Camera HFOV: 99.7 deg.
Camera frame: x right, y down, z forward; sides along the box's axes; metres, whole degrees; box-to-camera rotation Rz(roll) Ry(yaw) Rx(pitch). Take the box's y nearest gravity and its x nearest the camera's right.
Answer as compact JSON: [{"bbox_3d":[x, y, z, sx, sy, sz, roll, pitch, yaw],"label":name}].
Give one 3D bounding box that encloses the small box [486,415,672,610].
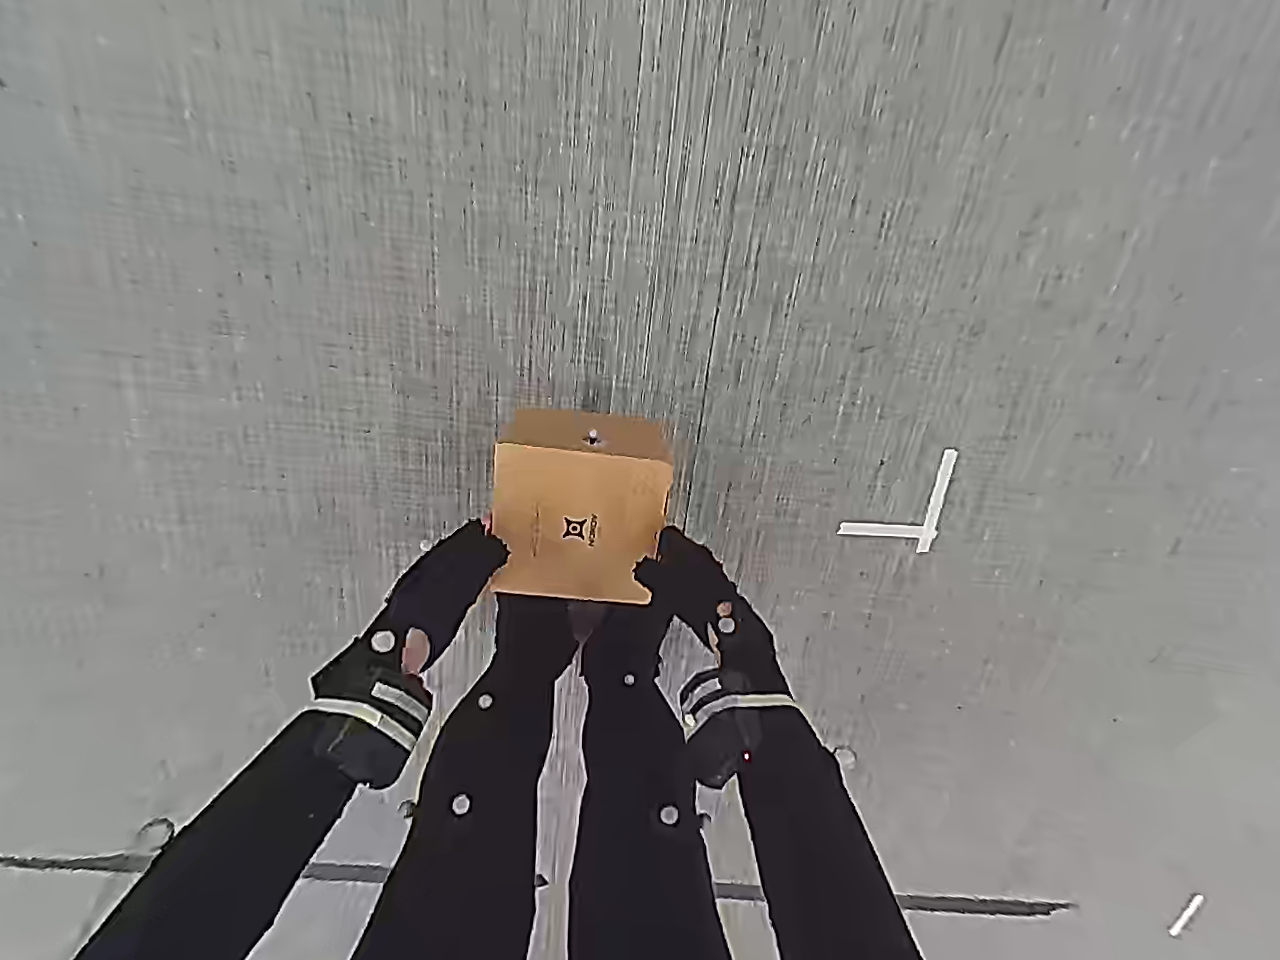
[{"bbox_3d":[-0.070,0.028,0.622,0.179,0.176,0.168,6,109,-6],"label":"small box"}]
